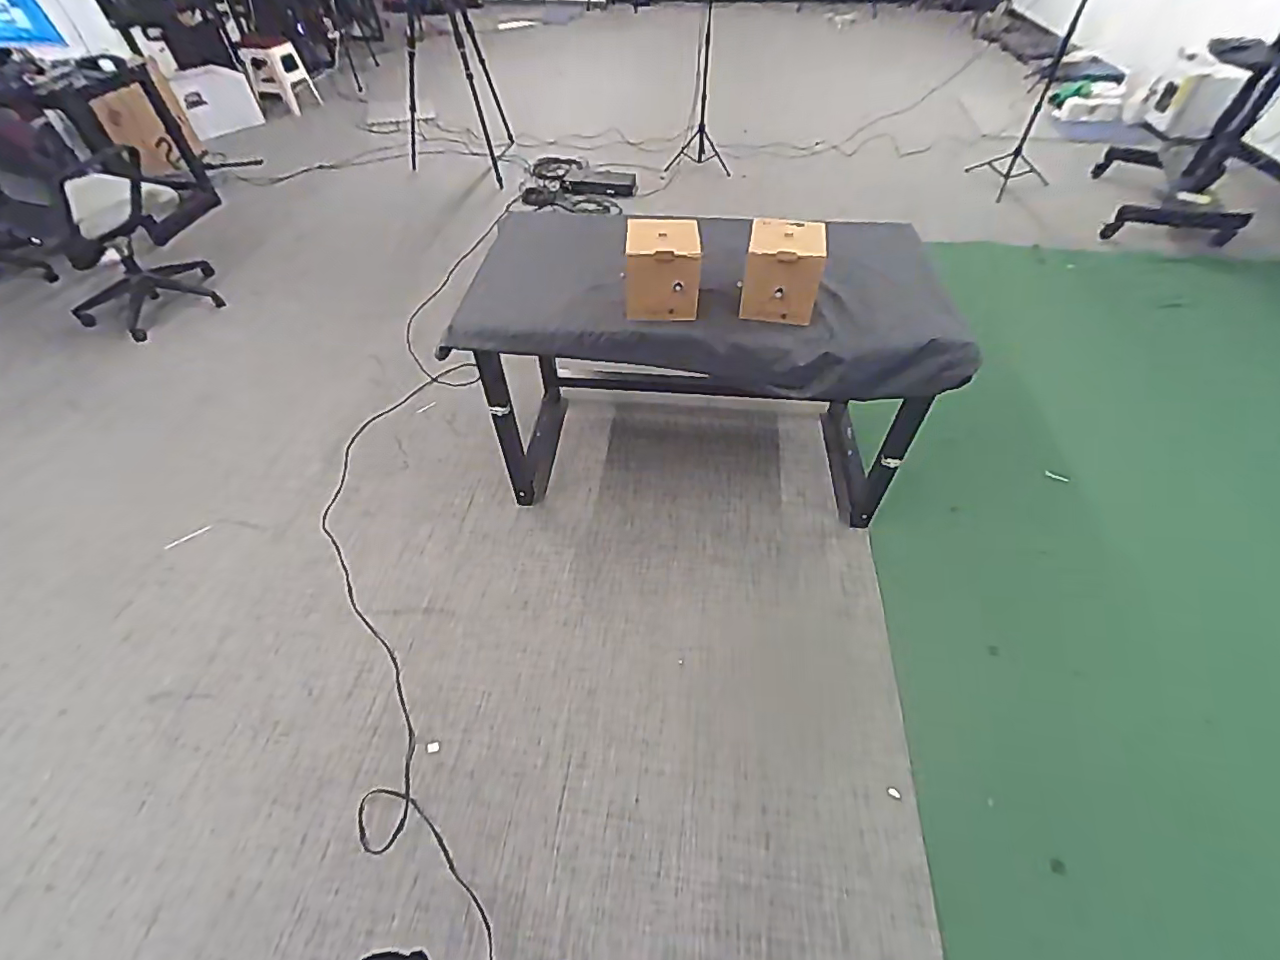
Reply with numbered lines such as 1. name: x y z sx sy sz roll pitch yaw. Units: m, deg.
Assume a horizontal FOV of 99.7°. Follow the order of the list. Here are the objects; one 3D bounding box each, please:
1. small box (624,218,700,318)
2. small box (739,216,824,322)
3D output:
1. small box: 0.048 -0.498 1.274 0.168 0.176 0.179 1 47 -1
2. small box: 0.328 -0.493 1.267 0.168 0.176 0.179 9 50 8
